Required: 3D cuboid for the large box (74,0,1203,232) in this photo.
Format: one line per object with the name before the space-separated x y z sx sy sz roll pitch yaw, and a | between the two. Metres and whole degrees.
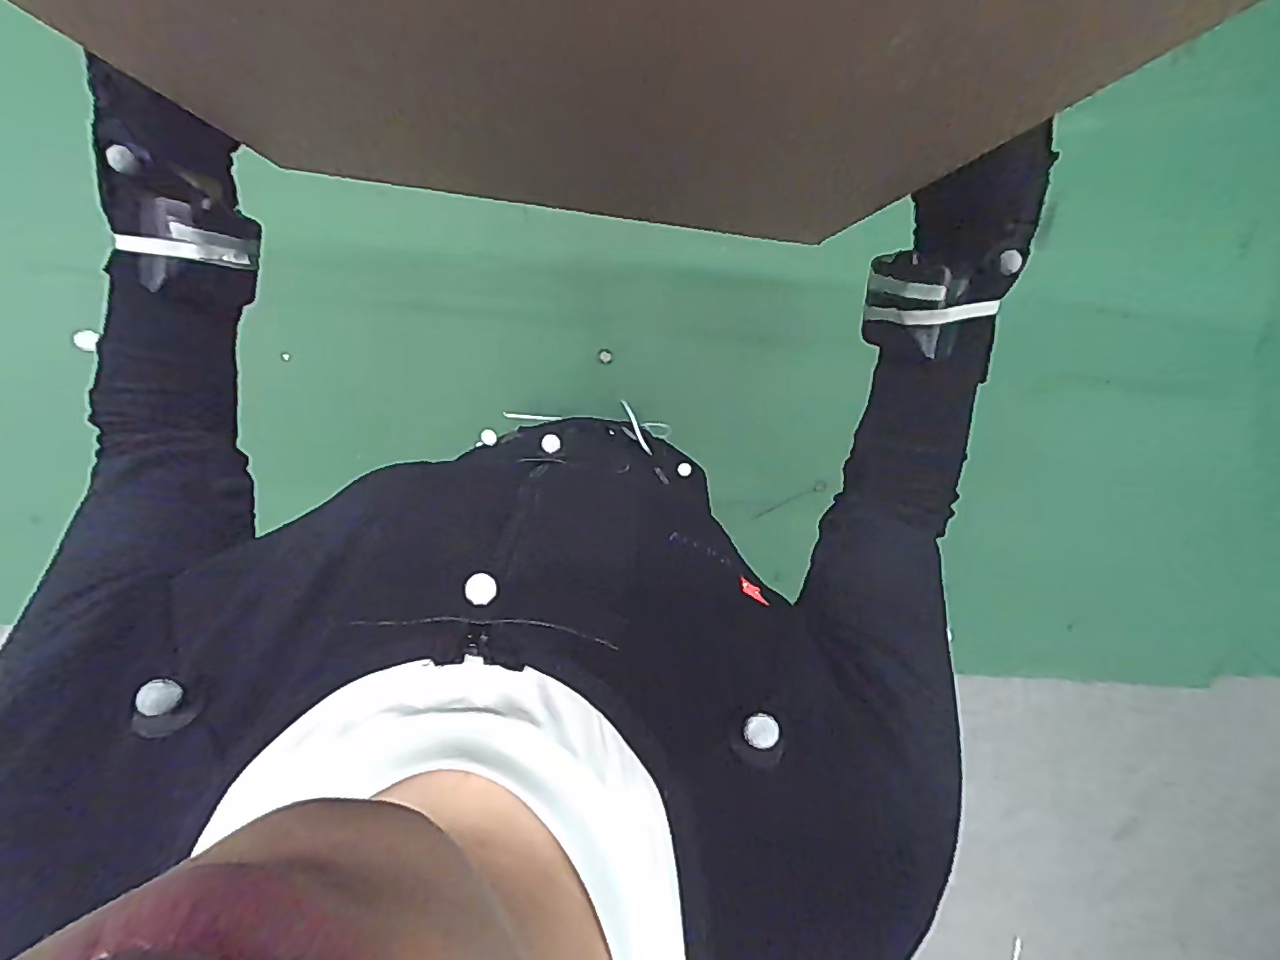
large box | -0.023 -0.327 0.230 0.408 0.320 0.320 6 102 -6
